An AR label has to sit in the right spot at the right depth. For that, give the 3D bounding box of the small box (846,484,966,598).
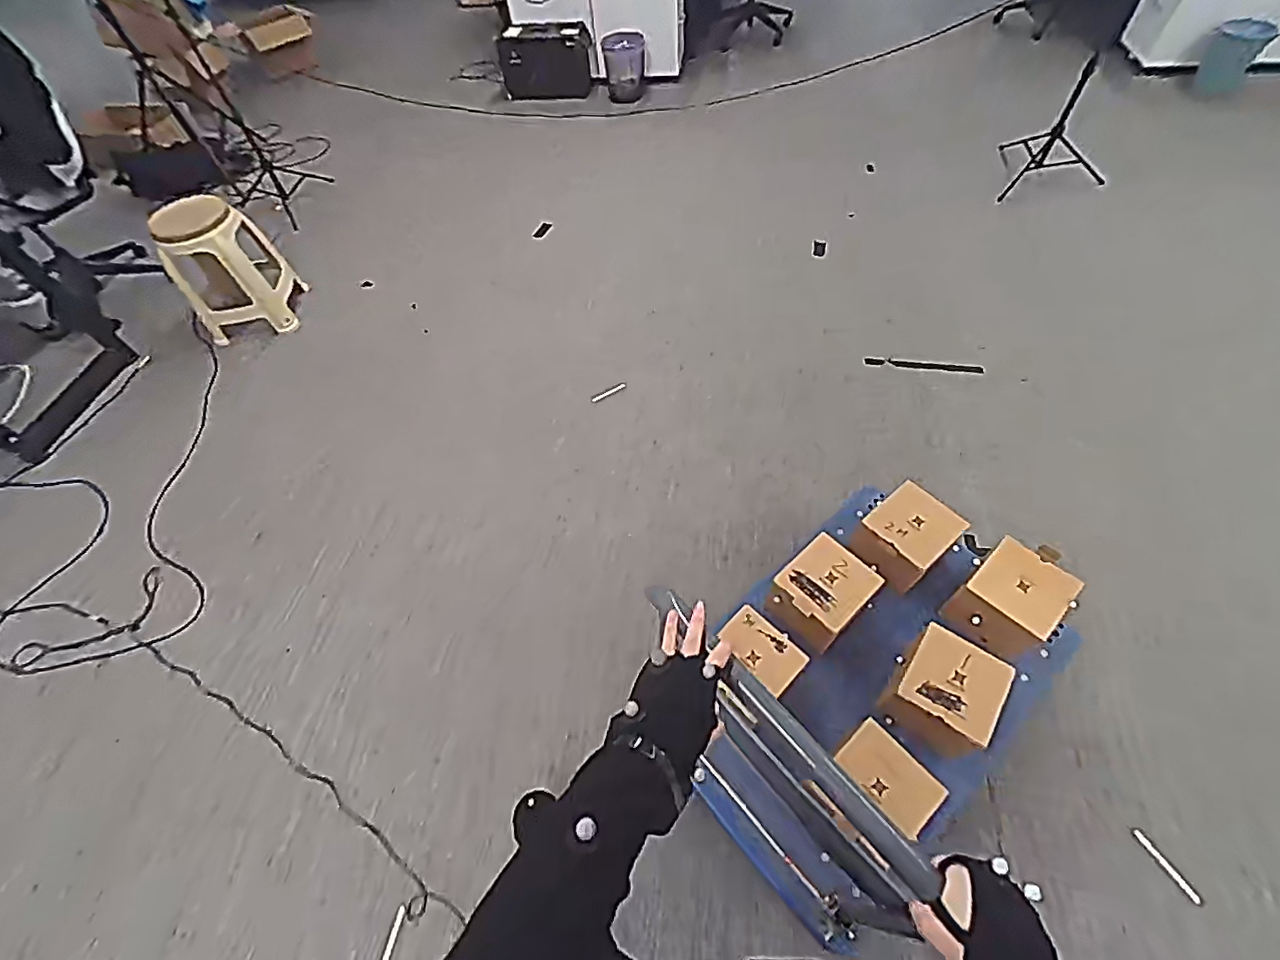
[{"bbox_3d":[0.624,0.148,1.292,0.179,0.176,0.168,-35,60,-17],"label":"small box"}]

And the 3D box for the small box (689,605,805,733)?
[{"bbox_3d":[0.222,0.407,1.150,0.179,0.176,0.168,-40,63,-20],"label":"small box"}]

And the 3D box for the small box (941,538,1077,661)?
[{"bbox_3d":[0.802,0.269,1.197,0.179,0.176,0.168,-39,61,-20],"label":"small box"}]

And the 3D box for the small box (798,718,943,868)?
[{"bbox_3d":[0.418,0.587,1.015,0.179,0.176,0.168,-36,61,-19],"label":"small box"}]

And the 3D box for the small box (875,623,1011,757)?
[{"bbox_3d":[0.605,0.432,1.102,0.168,0.176,0.179,31,63,23],"label":"small box"}]
